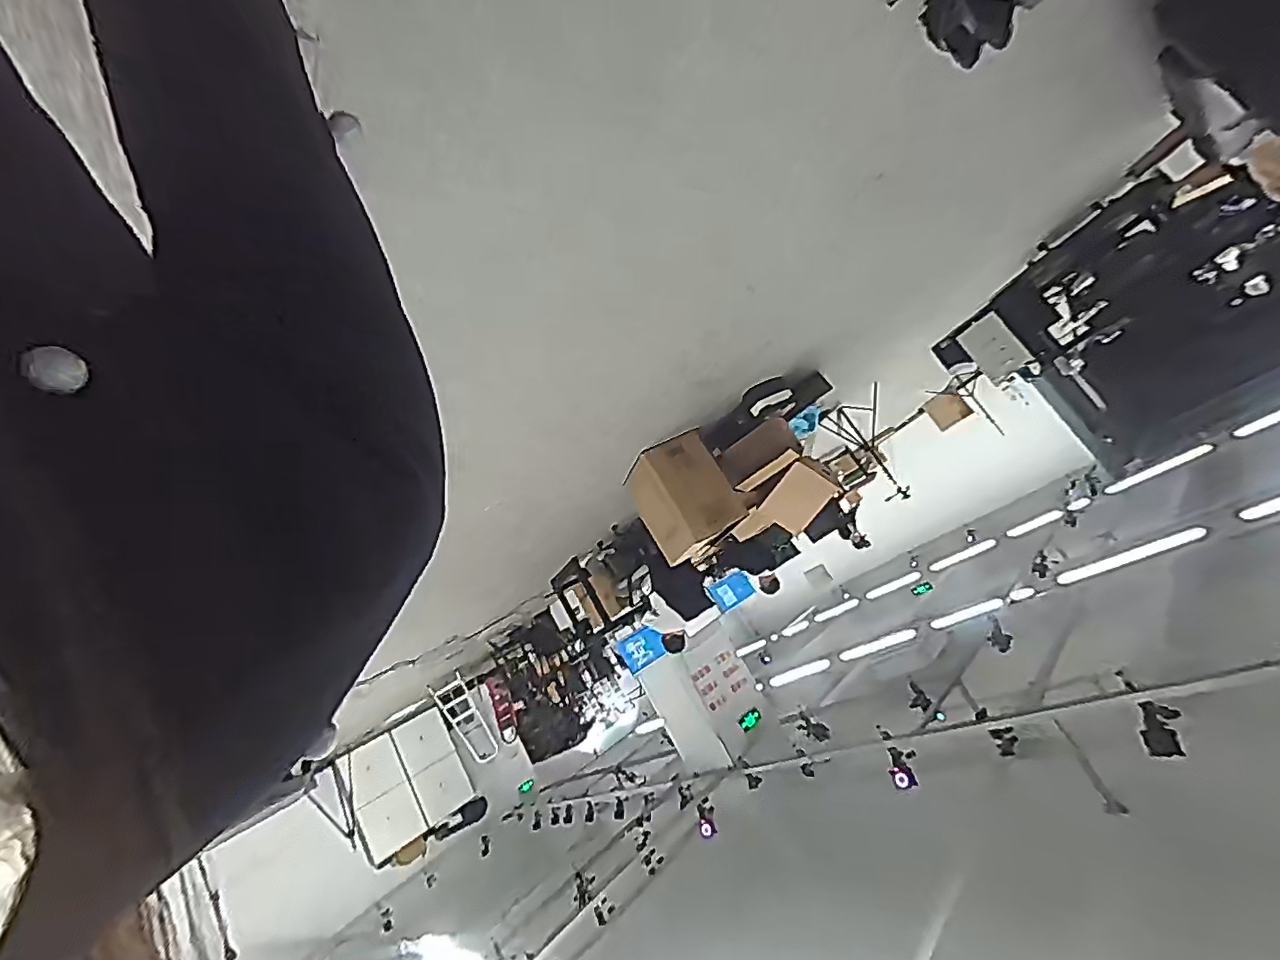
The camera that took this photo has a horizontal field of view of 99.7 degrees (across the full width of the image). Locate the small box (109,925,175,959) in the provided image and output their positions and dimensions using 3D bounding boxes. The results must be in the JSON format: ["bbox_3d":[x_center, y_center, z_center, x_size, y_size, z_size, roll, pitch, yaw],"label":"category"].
[{"bbox_3d":[-1.512,1.483,1.613,0.179,0.176,0.168,-18,162,-42],"label":"small box"}]

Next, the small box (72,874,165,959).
[{"bbox_3d":[-1.594,1.350,1.653,0.179,0.176,0.168,-17,163,-44],"label":"small box"}]
